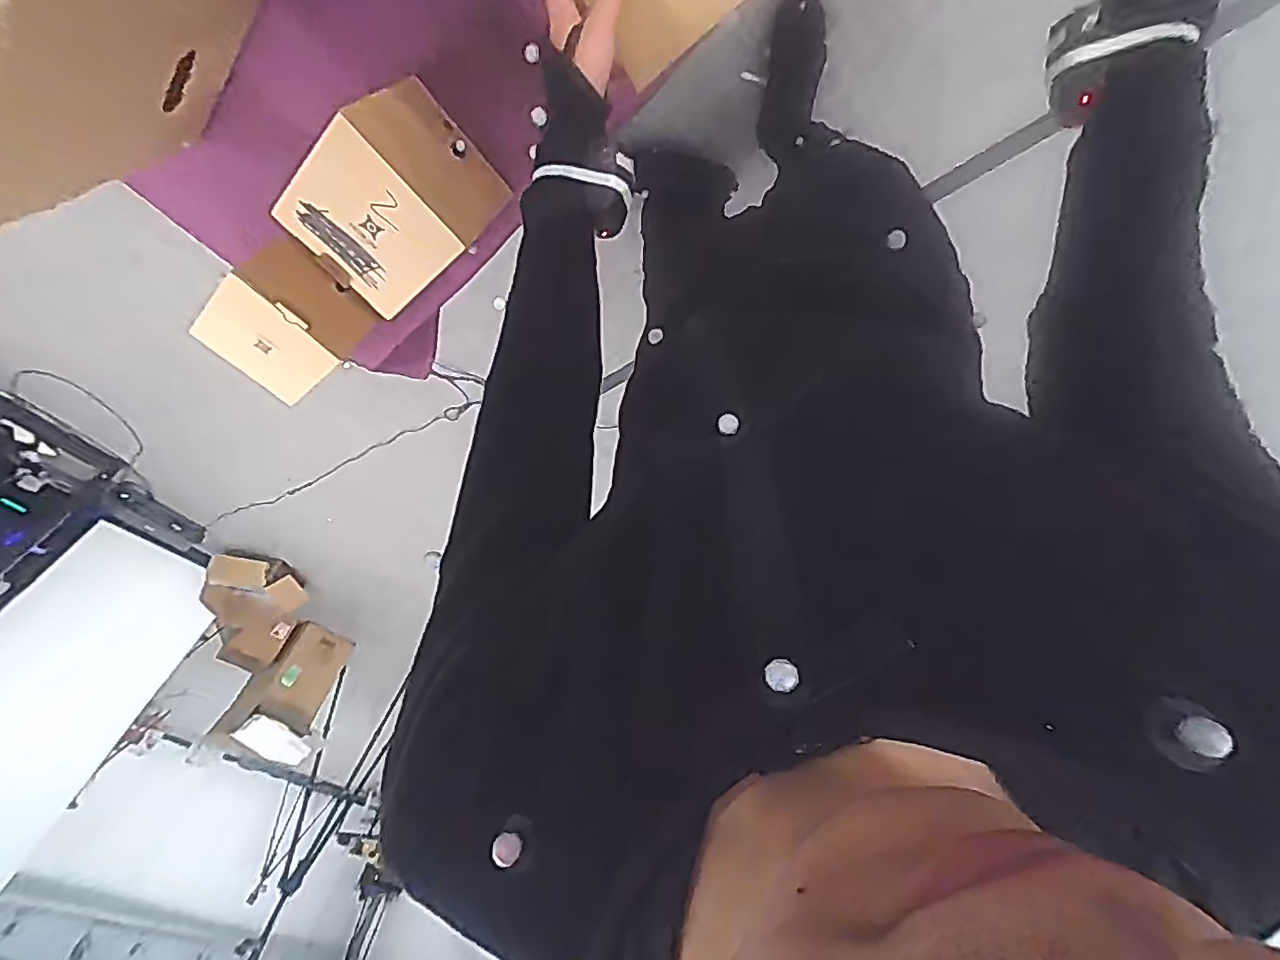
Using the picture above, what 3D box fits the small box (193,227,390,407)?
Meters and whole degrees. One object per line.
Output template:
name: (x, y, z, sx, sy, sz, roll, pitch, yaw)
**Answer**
small box: (-0.529, -0.252, 0.842, 0.179, 0.176, 0.168, -23, 127, 33)
